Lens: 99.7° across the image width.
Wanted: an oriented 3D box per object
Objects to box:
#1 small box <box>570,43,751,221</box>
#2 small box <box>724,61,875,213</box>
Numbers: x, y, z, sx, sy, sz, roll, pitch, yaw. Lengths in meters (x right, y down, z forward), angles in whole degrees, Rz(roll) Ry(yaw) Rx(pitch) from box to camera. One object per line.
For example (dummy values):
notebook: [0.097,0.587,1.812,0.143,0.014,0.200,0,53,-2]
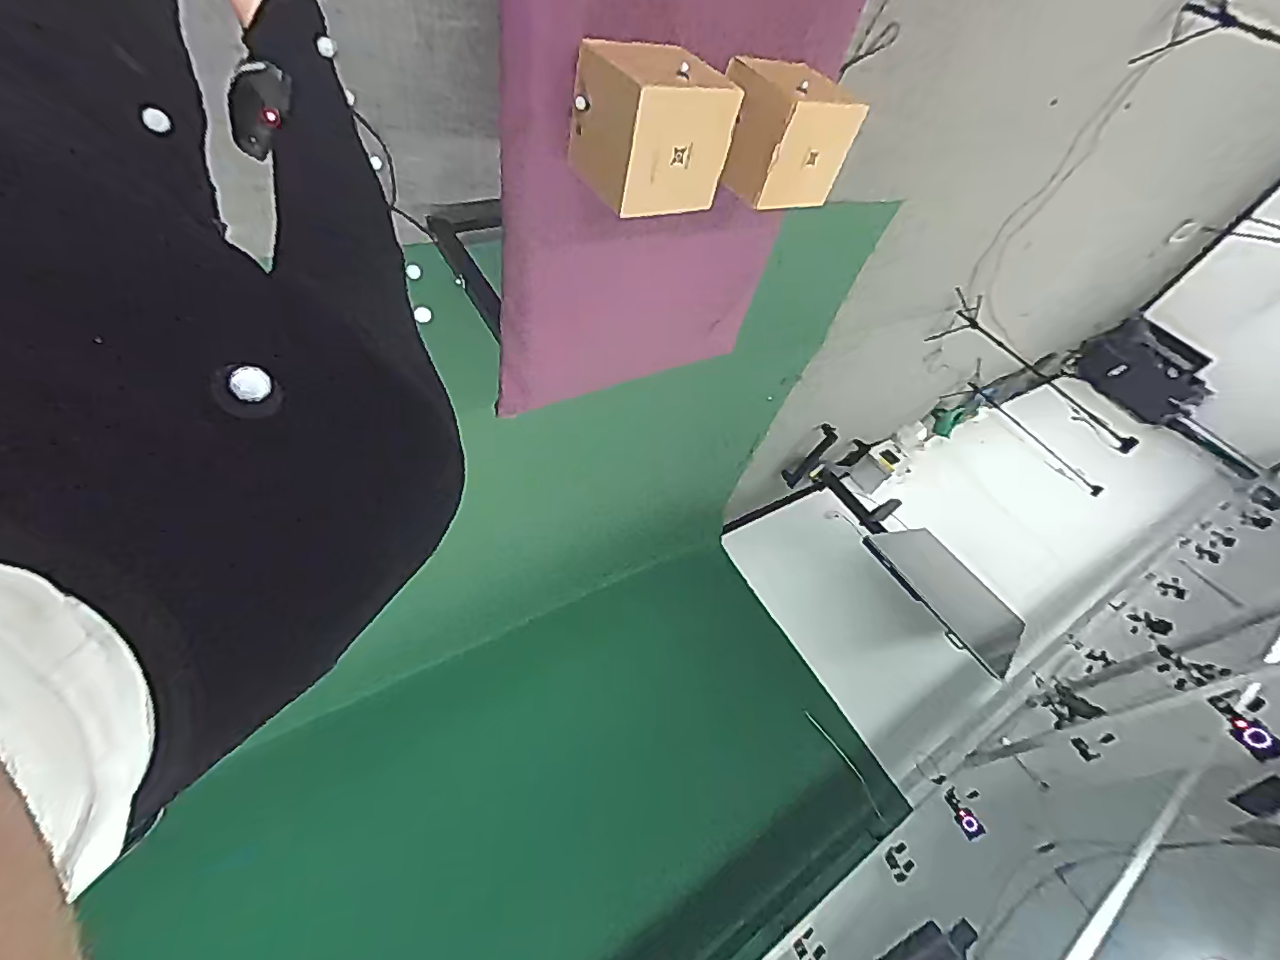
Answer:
small box: [0.021,-0.504,0.785,0.179,0.176,0.168,-20,149,-28]
small box: [0.248,-0.581,0.920,0.179,0.176,0.168,-18,150,-28]
